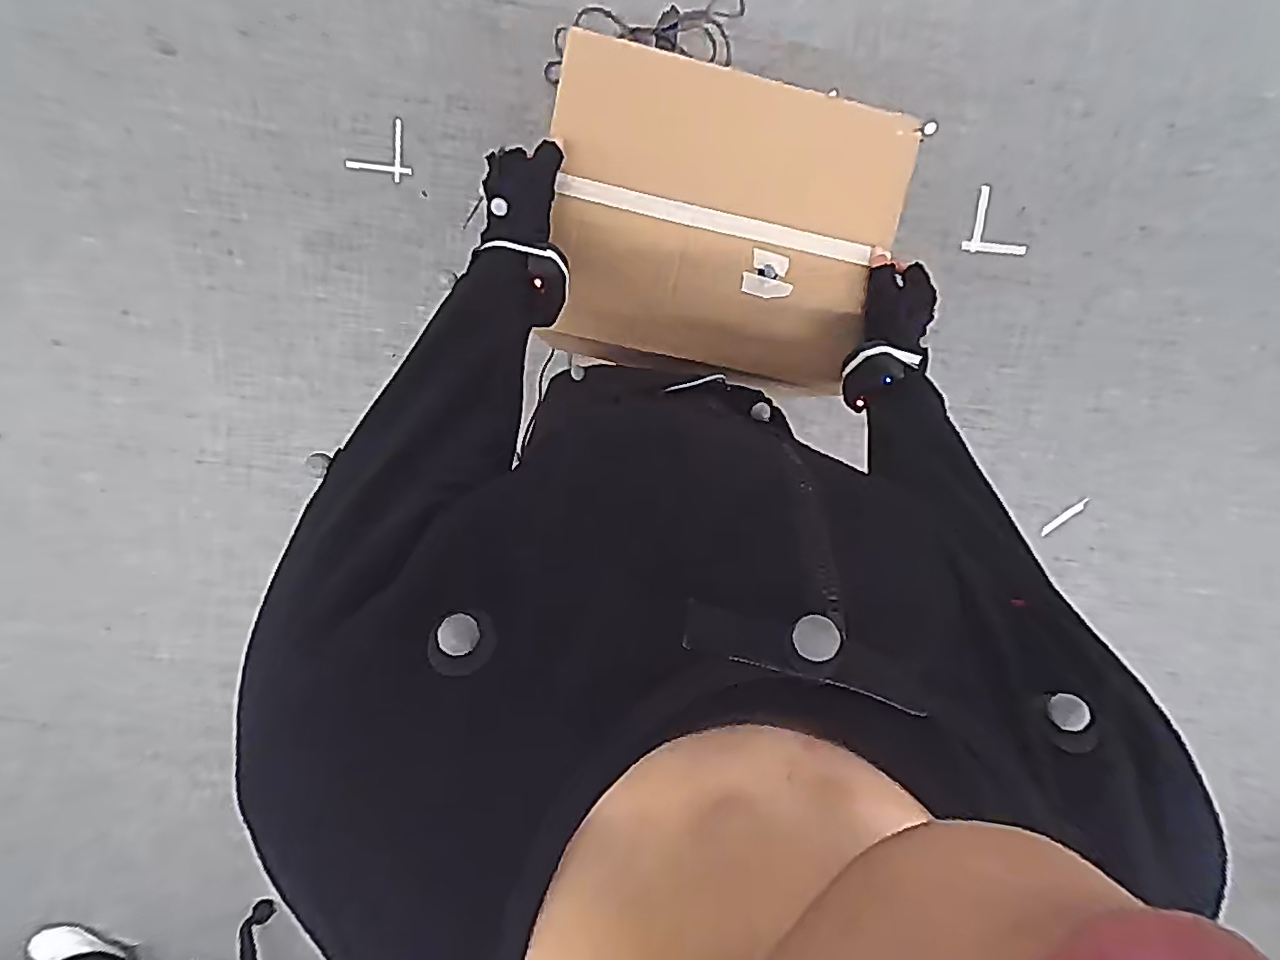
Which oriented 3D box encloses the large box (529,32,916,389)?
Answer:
[{"bbox_3d":[0.083,-0.323,0.766,0.408,0.320,0.320,12,99,-5],"label":"large box"}]
